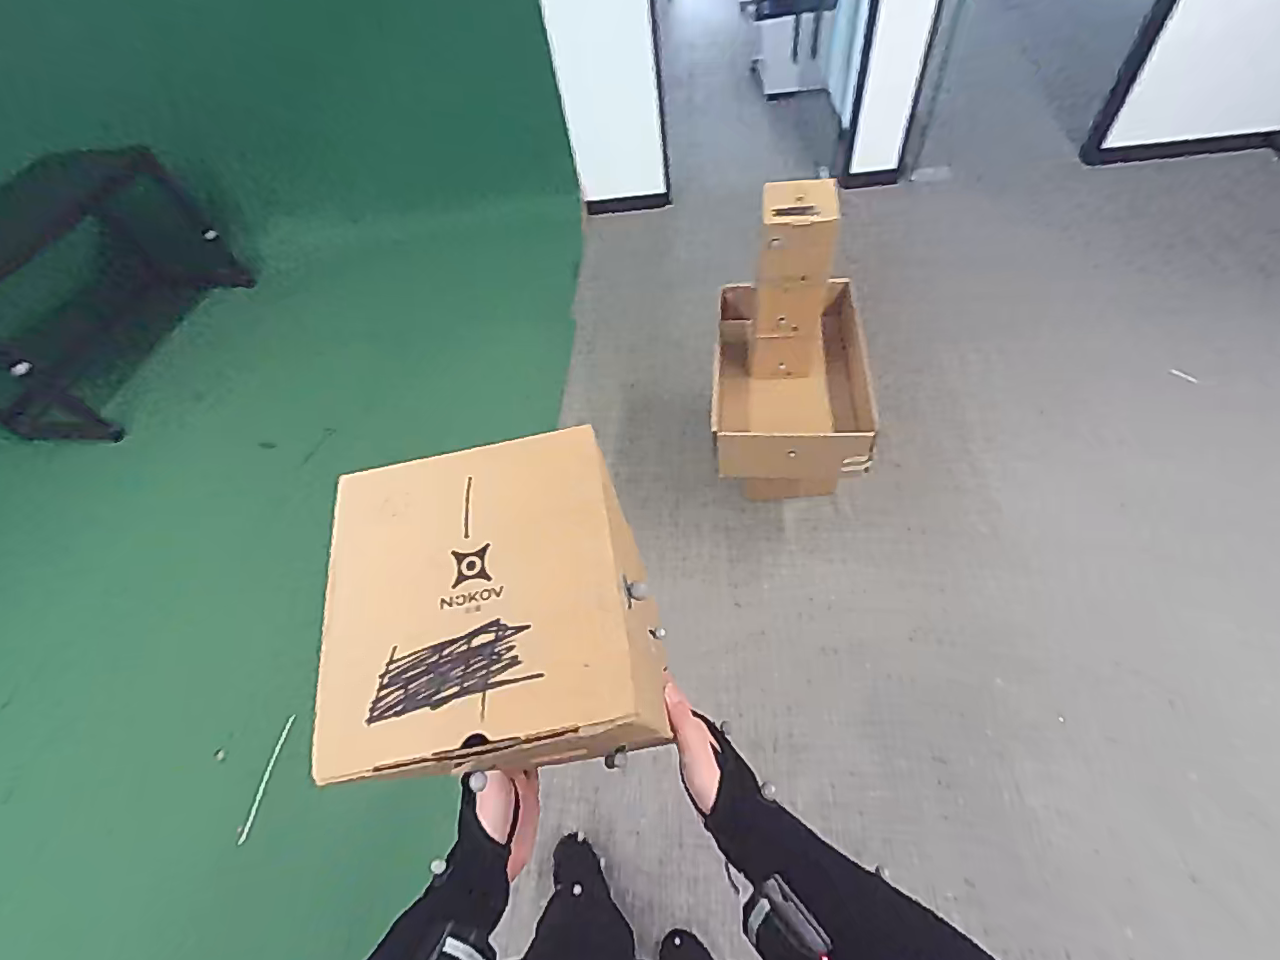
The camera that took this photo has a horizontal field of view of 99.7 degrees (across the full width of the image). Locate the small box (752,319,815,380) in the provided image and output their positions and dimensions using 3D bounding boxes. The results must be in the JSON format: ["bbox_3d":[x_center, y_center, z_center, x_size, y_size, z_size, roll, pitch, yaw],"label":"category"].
[{"bbox_3d":[0.415,-0.414,1.586,0.168,0.176,0.179,1,56,10],"label":"small box"}]

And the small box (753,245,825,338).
[{"bbox_3d":[0.394,-0.503,1.452,0.168,0.176,0.179,1,57,9],"label":"small box"}]

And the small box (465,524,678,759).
[{"bbox_3d":[-0.058,0.162,0.524,0.168,0.176,0.179,-10,62,2],"label":"small box"}]

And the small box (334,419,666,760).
[{"bbox_3d":[-0.079,0.086,0.379,0.168,0.176,0.179,-11,61,1],"label":"small box"}]
